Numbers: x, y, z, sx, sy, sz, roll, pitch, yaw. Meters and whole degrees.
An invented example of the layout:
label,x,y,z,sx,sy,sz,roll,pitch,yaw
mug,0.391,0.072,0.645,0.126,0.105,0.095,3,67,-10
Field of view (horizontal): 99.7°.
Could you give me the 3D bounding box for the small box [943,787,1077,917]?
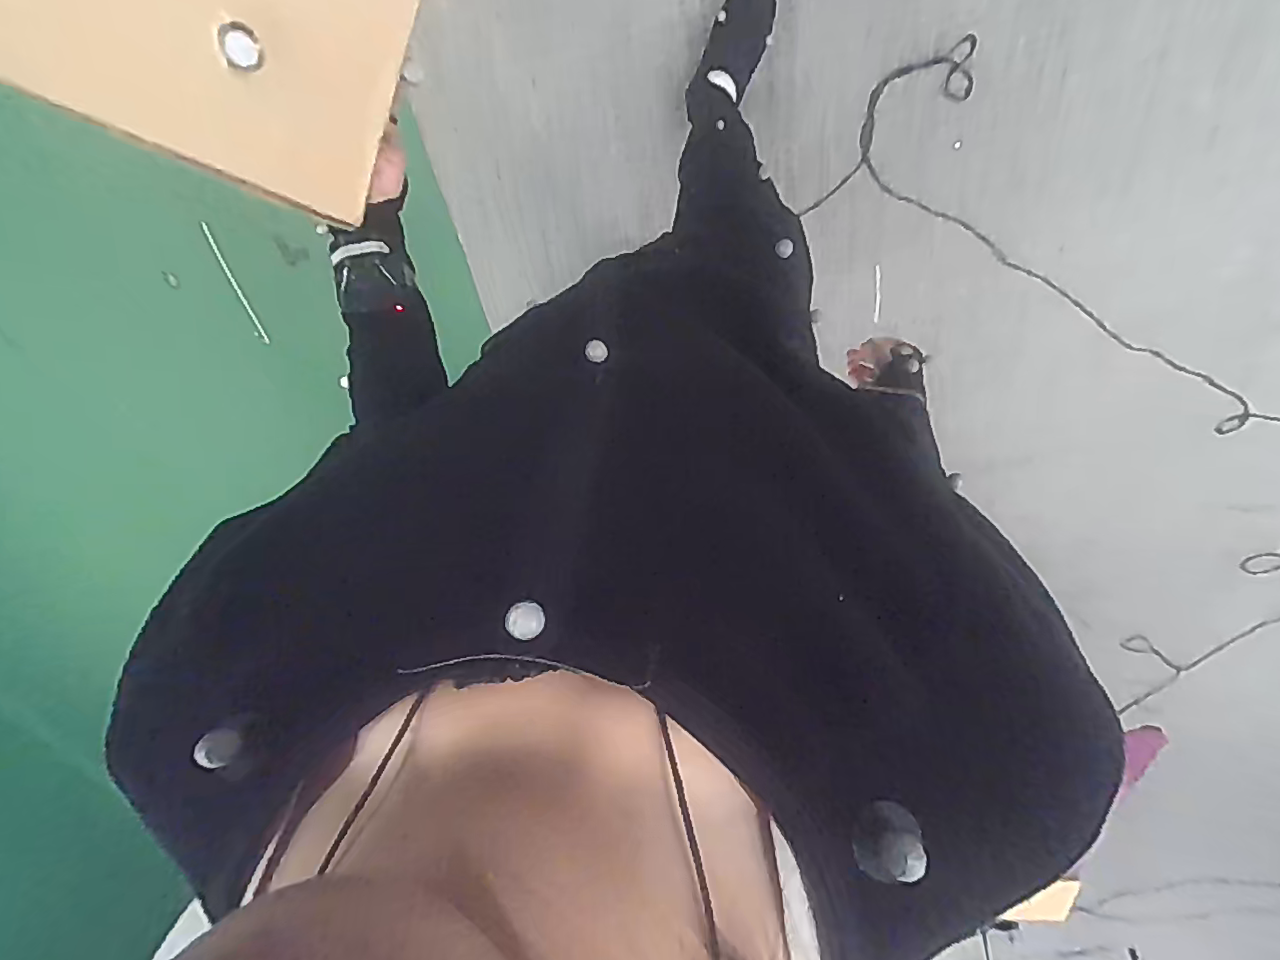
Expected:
label,x,y,z,sx,sy,sz,roll,pitch,yaw
small box,0.749,0.766,1.119,0.168,0.176,0.179,-7,121,10
